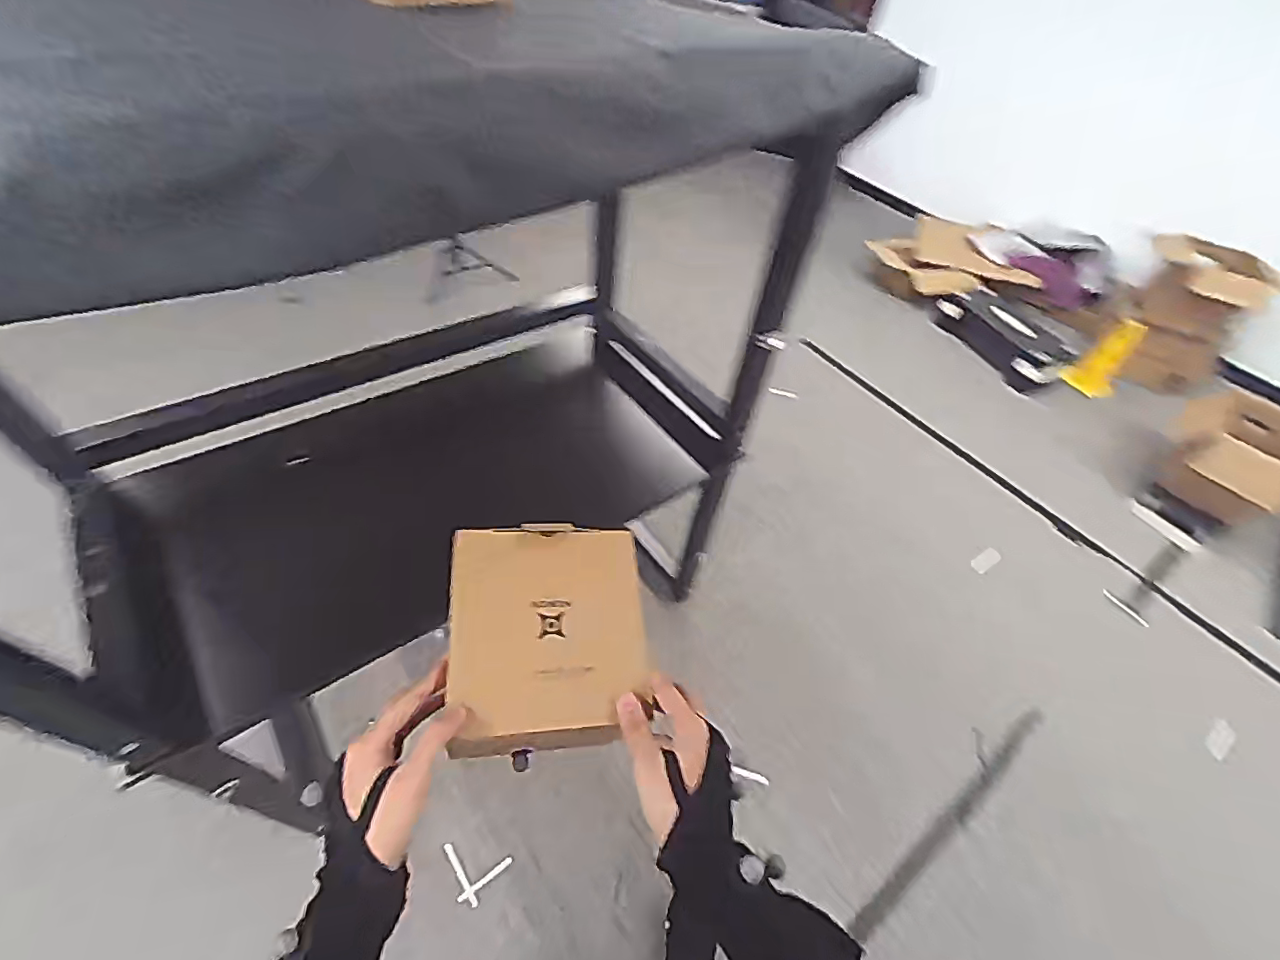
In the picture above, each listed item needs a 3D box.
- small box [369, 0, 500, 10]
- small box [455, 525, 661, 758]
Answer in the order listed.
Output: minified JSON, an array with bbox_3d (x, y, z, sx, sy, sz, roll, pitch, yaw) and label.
[{"bbox_3d":[-0.295,-0.718,0.680,0.179,0.176,0.168,-27,59,-26],"label":"small box"},{"bbox_3d":[-0.089,0.160,0.531,0.168,0.176,0.179,2,57,-15],"label":"small box"}]
